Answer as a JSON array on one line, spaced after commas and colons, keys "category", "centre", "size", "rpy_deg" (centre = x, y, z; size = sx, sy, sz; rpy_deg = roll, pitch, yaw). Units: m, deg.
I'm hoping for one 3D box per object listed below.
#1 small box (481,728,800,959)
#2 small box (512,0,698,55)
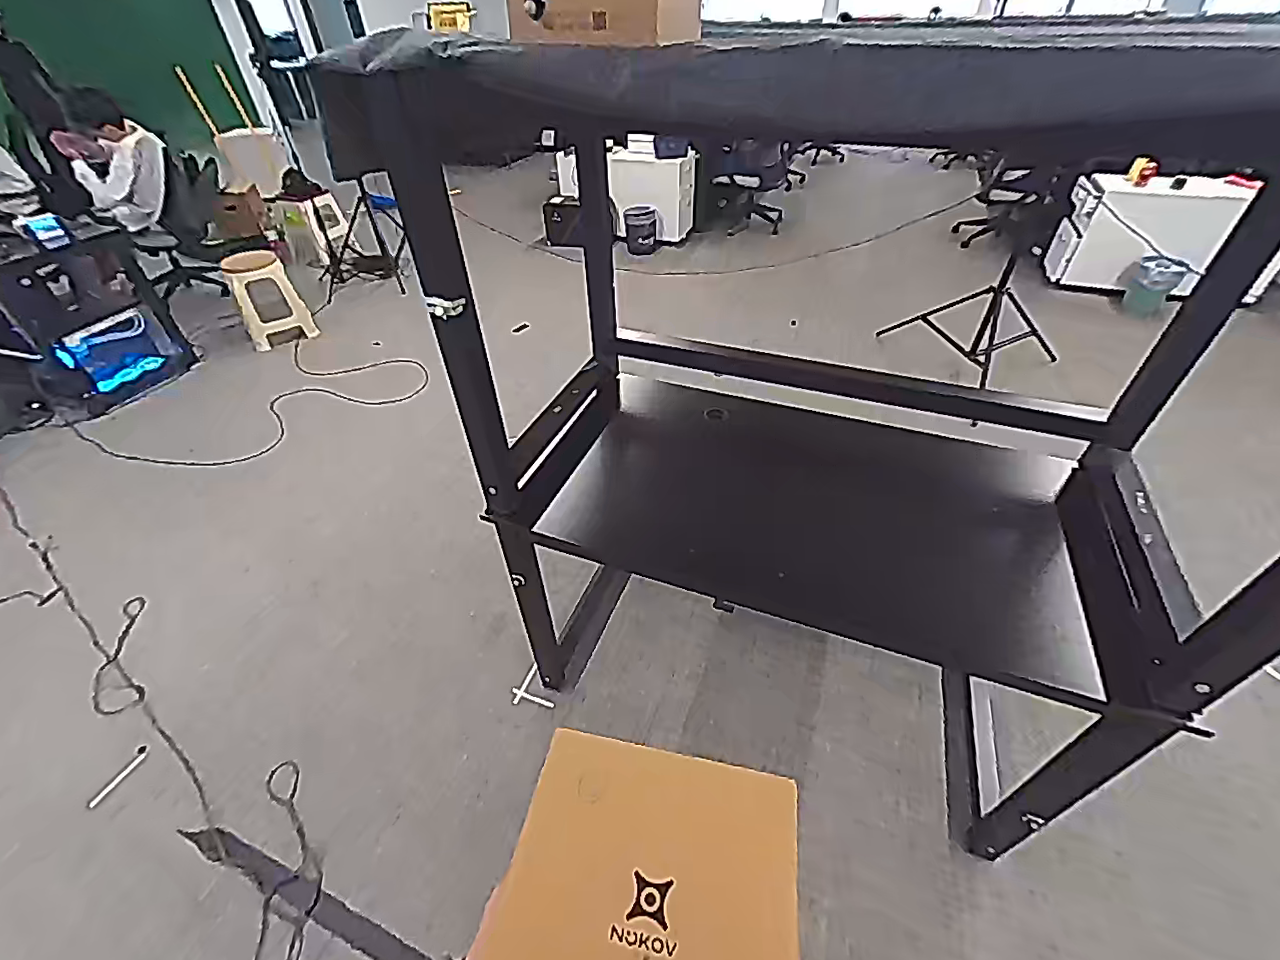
[{"category": "small box", "centre": [0.002, 0.299, 0.350], "size": [0.168, 0.176, 0.179], "rpy_deg": [9, 41, 8]}, {"category": "small box", "centre": [-0.032, -0.555, 0.566], "size": [0.168, 0.176, 0.179], "rpy_deg": [13, 41, 14]}]
